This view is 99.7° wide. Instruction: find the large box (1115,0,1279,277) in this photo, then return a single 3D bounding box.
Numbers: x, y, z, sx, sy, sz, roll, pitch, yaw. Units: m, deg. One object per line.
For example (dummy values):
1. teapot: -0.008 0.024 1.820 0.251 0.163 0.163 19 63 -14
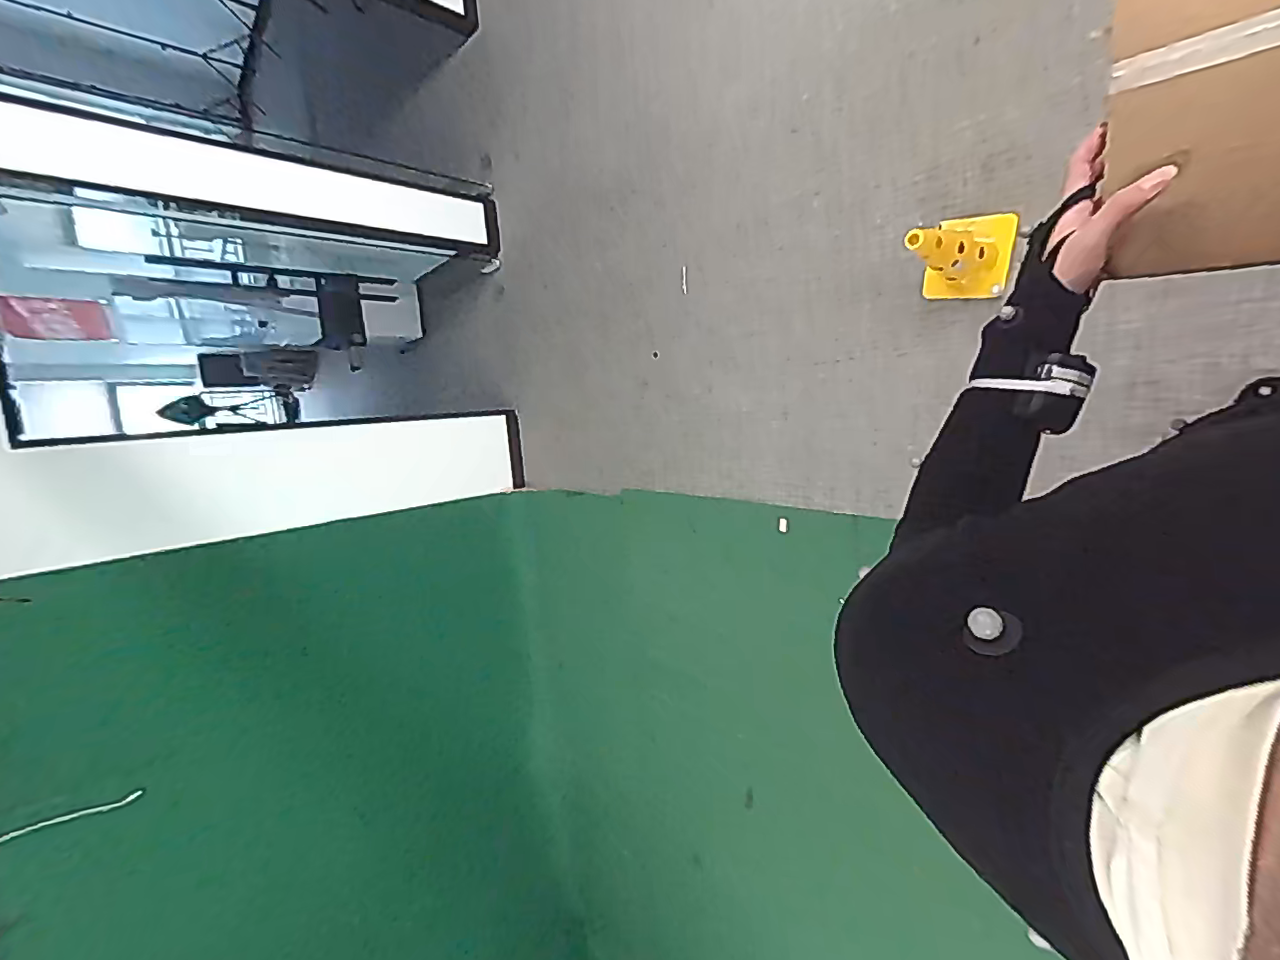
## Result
1. large box: 0.621 -0.359 0.370 0.408 0.320 0.320 10 124 48
